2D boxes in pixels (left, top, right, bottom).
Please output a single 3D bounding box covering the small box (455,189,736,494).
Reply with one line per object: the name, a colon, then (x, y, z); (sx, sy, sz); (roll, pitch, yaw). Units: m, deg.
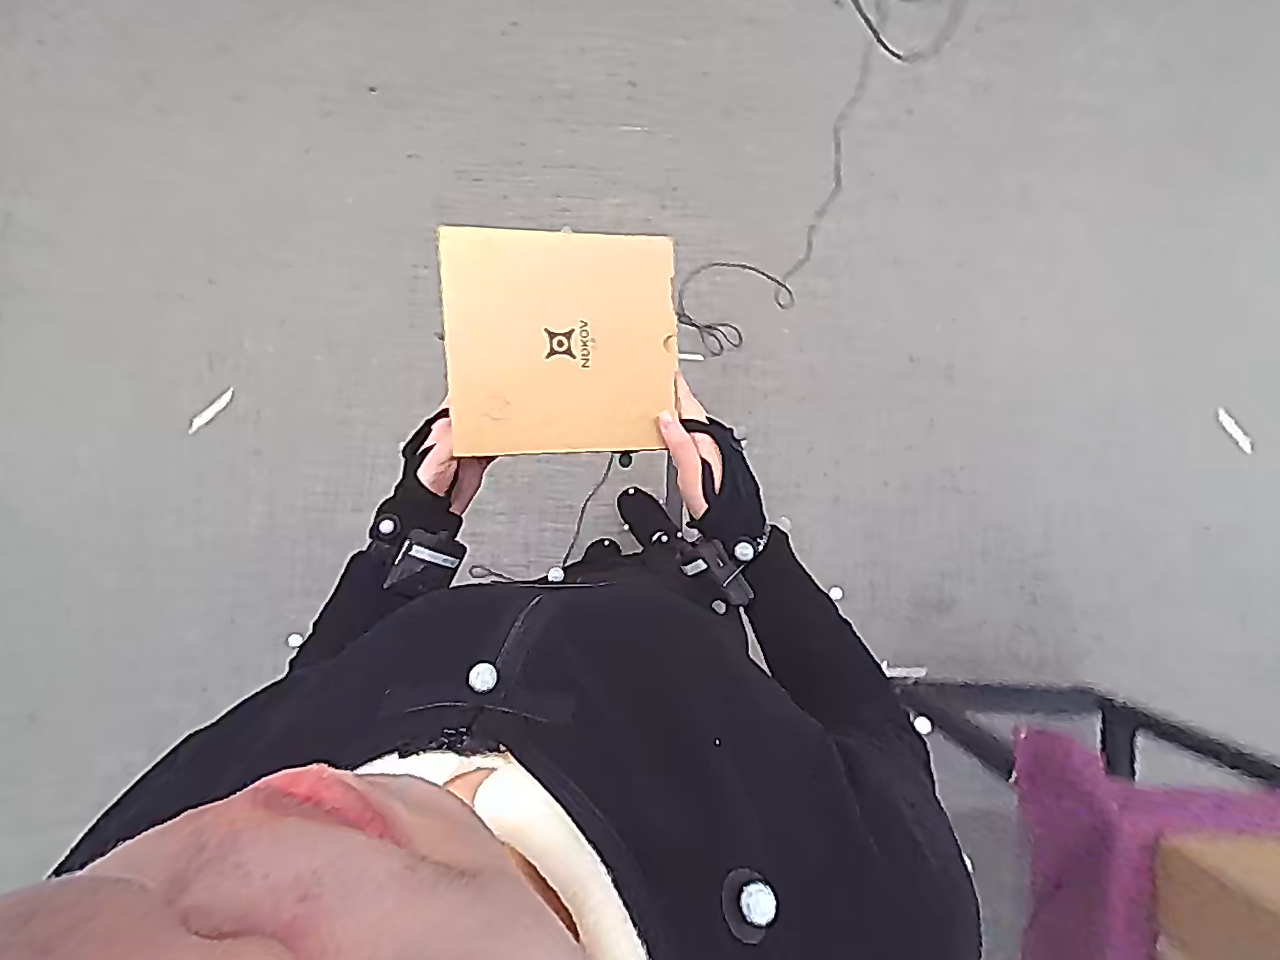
small box: (-0.044, -0.098, 0.449); (0.168, 0.176, 0.179); (-5, 78, -31)
